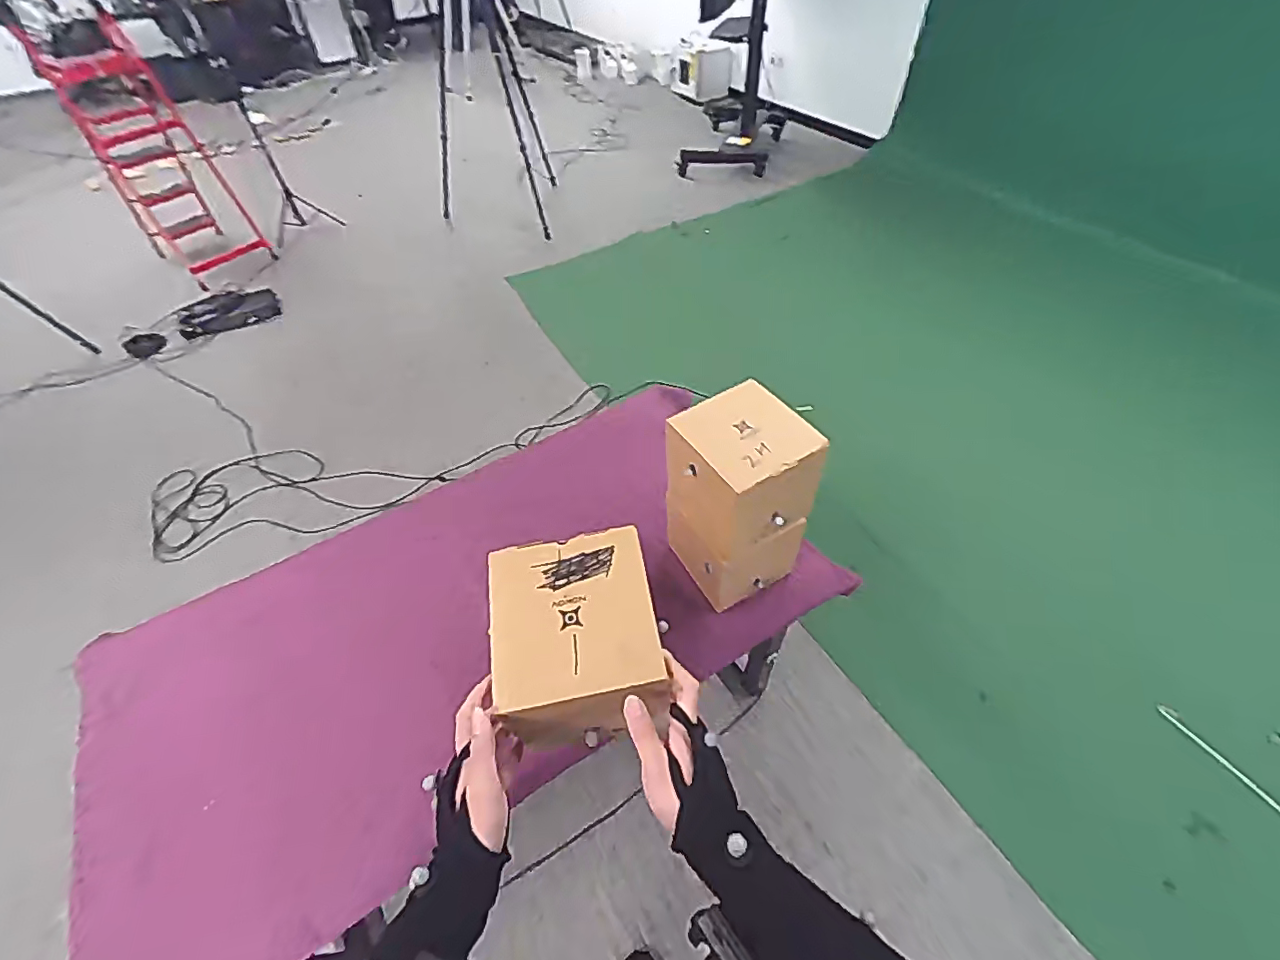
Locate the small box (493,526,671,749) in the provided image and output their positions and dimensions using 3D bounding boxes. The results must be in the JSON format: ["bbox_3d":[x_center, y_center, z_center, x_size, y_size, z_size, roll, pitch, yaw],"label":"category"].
[{"bbox_3d":[-0.062,0.180,0.608,0.168,0.176,0.179,-11,53,-3],"label":"small box"}]

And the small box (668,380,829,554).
[{"bbox_3d":[0.156,-0.019,0.840,0.168,0.176,0.179,-27,53,-17],"label":"small box"}]
